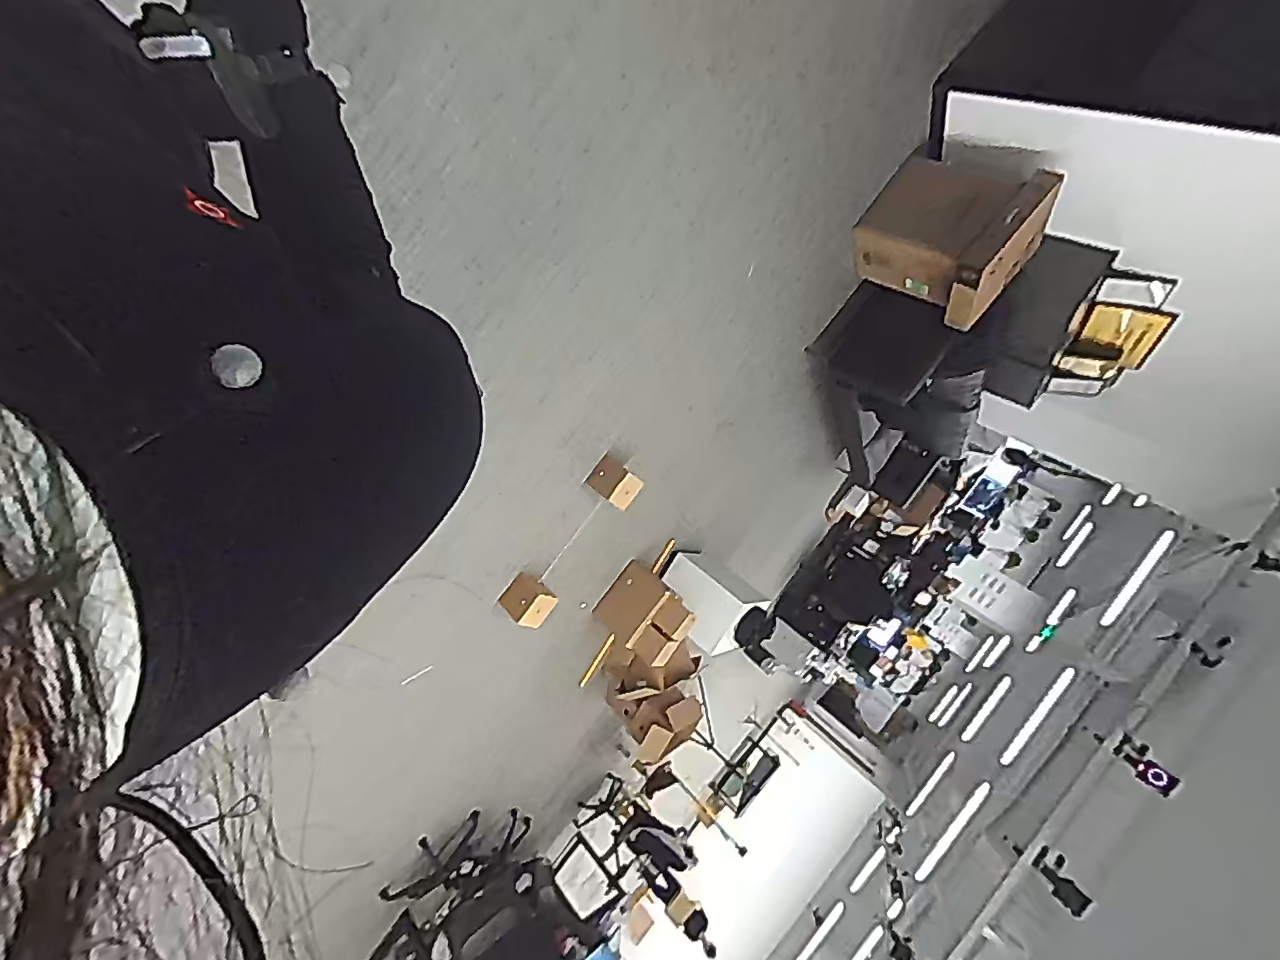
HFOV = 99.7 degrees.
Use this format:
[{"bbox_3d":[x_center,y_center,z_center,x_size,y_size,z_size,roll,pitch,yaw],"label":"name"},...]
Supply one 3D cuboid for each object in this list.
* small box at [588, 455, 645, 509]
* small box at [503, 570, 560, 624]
[{"bbox_3d":[-0.112,0.006,2.555,0.168,0.176,0.179,-53,149,-1],"label":"small box"},{"bbox_3d":[-0.522,0.555,2.561,0.179,0.176,0.168,-53,148,-1],"label":"small box"}]
